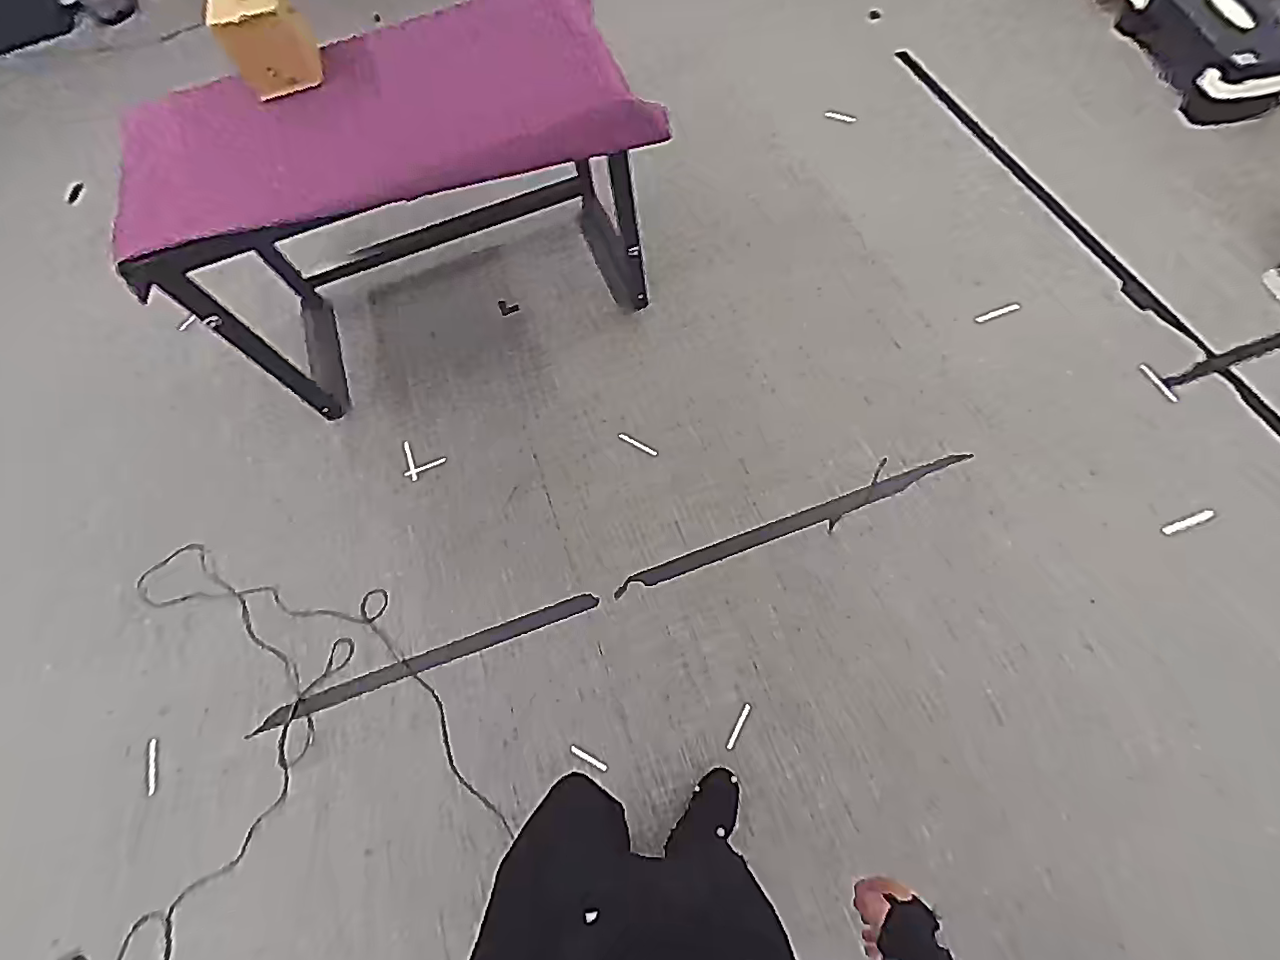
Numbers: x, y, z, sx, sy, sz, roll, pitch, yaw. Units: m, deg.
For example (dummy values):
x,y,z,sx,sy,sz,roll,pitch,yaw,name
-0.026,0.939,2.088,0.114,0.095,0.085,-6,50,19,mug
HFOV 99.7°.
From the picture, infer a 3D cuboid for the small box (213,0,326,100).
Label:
x,y,z,sx,sy,sz,roll,pitch,yaw,name
-0.912,-1.094,1.343,0.168,0.176,0.179,-18,67,-2,small box
